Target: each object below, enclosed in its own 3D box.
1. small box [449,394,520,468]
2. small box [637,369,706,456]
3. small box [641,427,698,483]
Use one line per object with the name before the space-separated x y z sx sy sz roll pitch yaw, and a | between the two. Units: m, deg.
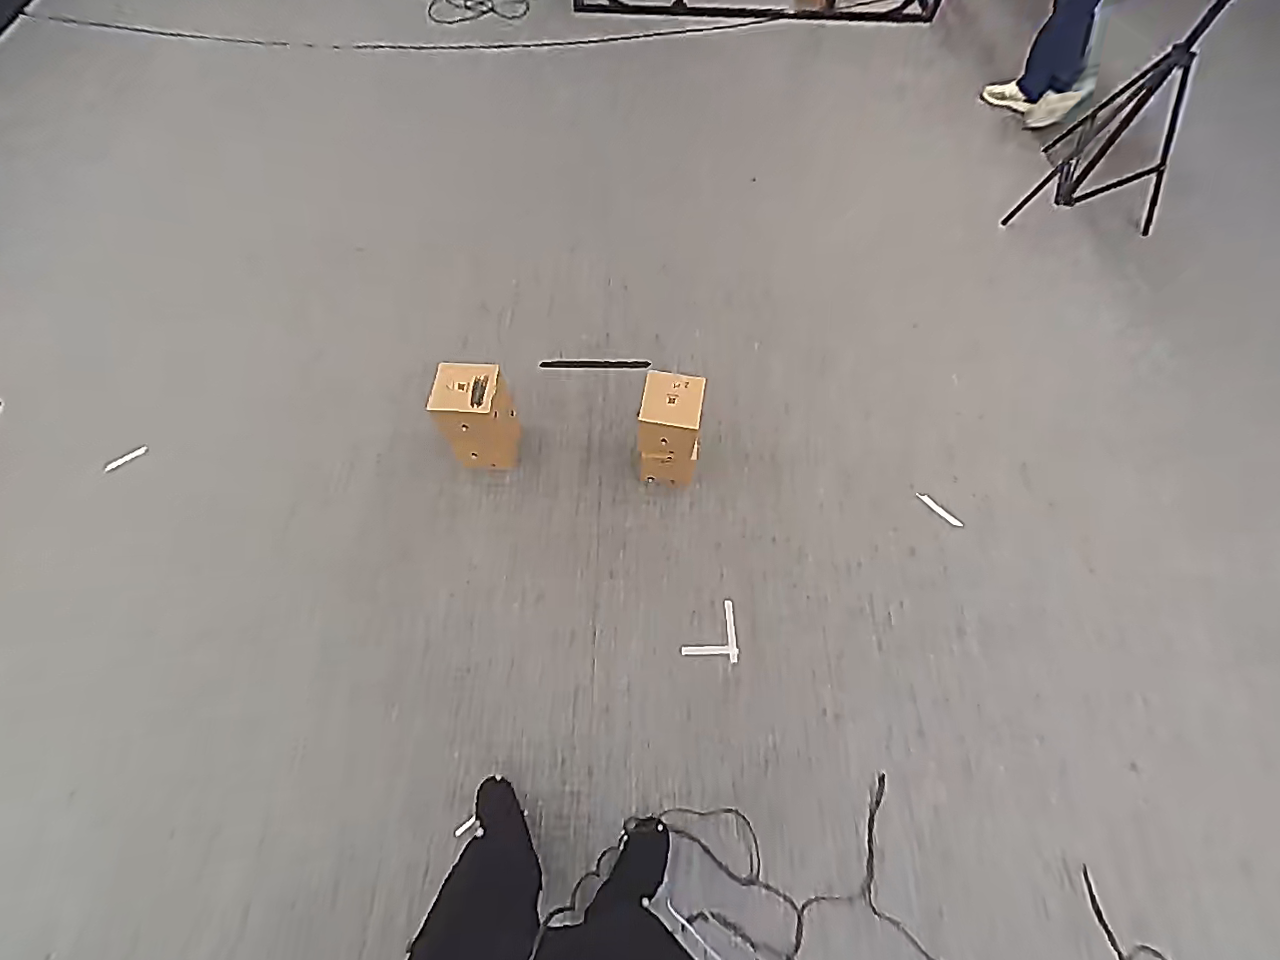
small box | -0.482 -0.150 1.708 0.168 0.176 0.179 3 63 1
small box | 0.088 -0.188 1.554 0.168 0.176 0.179 10 64 3
small box | 0.090 -0.104 1.697 0.168 0.176 0.179 5 63 0
